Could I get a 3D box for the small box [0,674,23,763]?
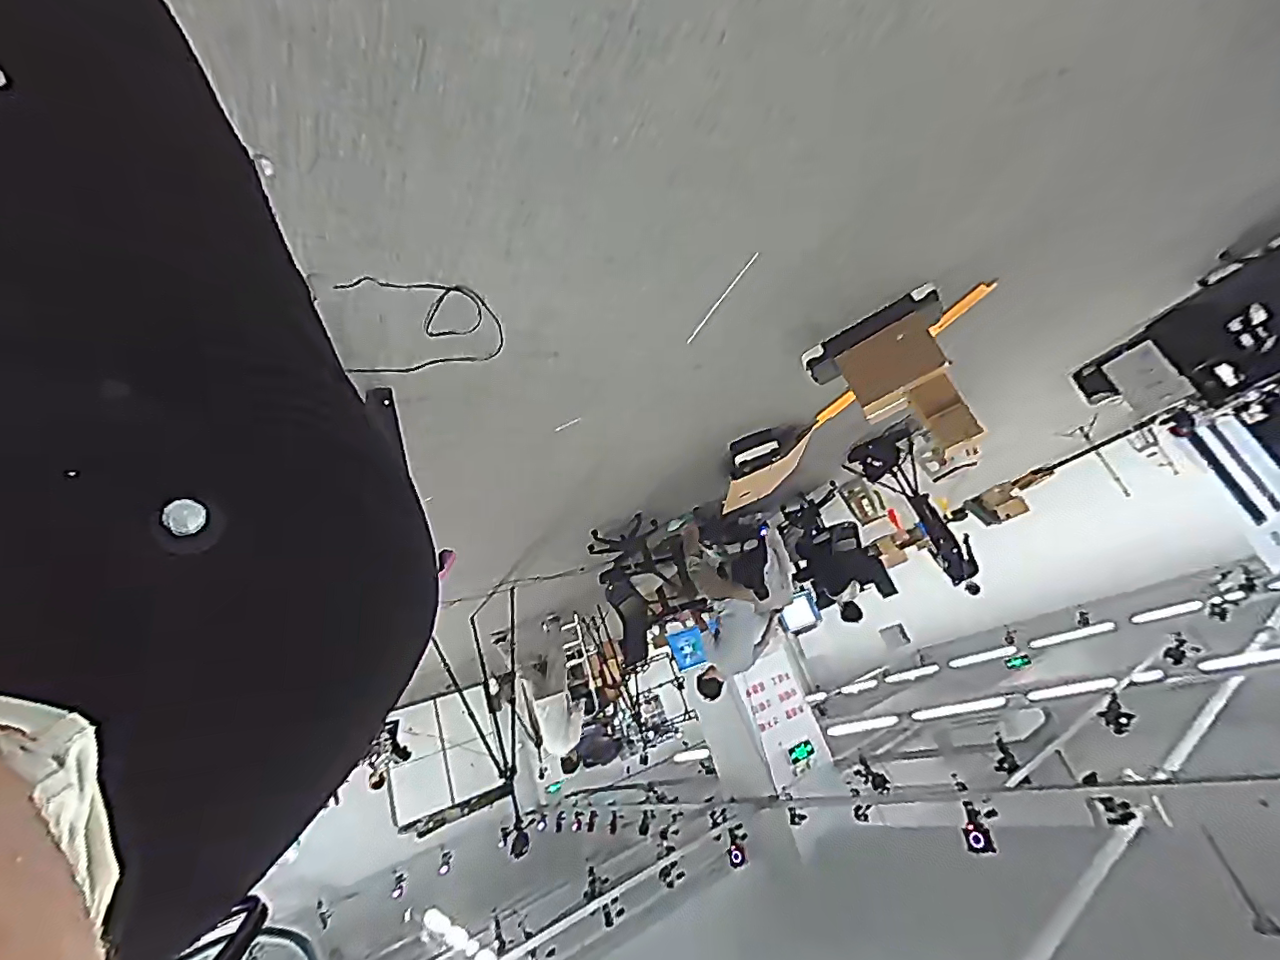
[{"bbox_3d":[-1.536,0.557,1.216,0.179,0.176,0.168,-2,153,-43],"label":"small box"}]
